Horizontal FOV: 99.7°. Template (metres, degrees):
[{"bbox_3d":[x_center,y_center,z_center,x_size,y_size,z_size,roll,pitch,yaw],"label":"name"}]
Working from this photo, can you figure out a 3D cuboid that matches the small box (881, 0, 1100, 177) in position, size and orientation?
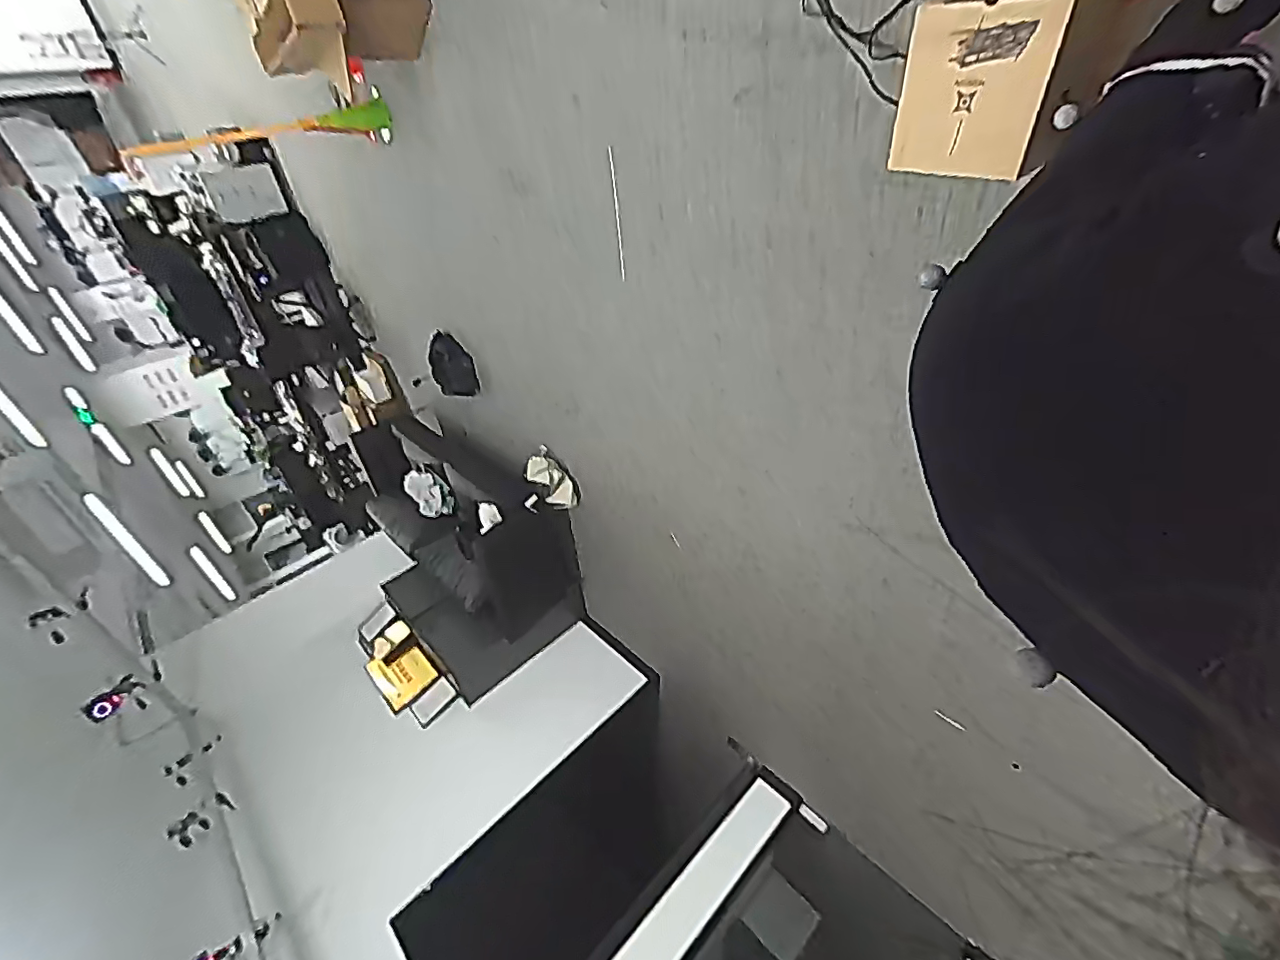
[{"bbox_3d":[0.442,-0.510,0.690,0.168,0.176,0.179,32,143,35],"label":"small box"}]
